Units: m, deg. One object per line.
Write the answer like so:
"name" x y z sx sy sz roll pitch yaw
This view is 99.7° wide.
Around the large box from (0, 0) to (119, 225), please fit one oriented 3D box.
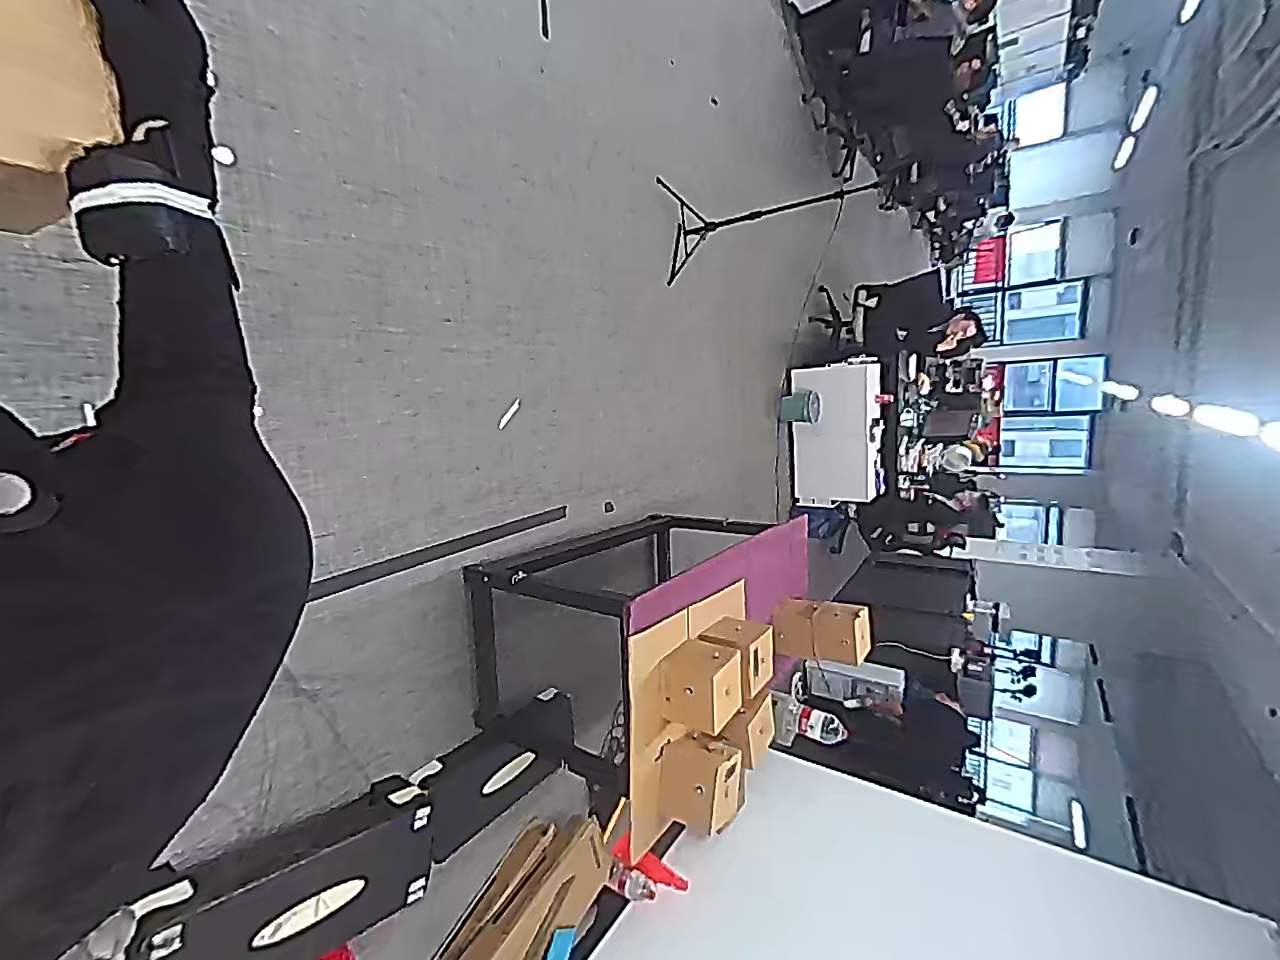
"large box" -0.618 -0.362 0.291 0.408 0.320 0.320 -14 110 -57
